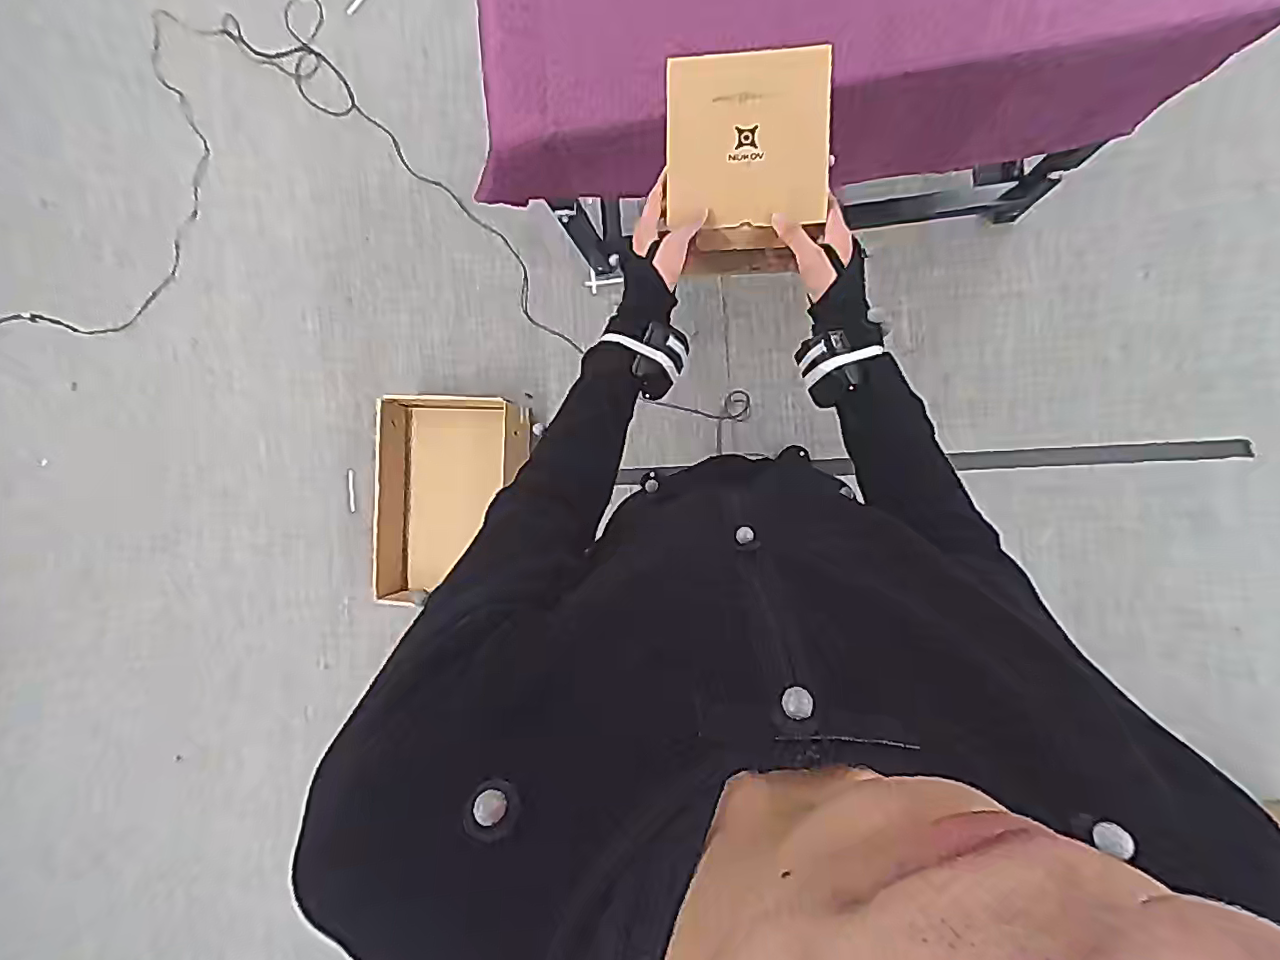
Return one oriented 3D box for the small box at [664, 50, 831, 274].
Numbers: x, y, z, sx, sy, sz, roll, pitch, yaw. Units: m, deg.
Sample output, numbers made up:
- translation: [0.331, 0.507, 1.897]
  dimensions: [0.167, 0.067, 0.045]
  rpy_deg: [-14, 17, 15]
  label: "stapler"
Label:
- translation: [0.117, -0.348, 0.630]
  dimensions: [0.168, 0.176, 0.179]
  rpy_deg: [1, 95, 6]
  label: "small box"
